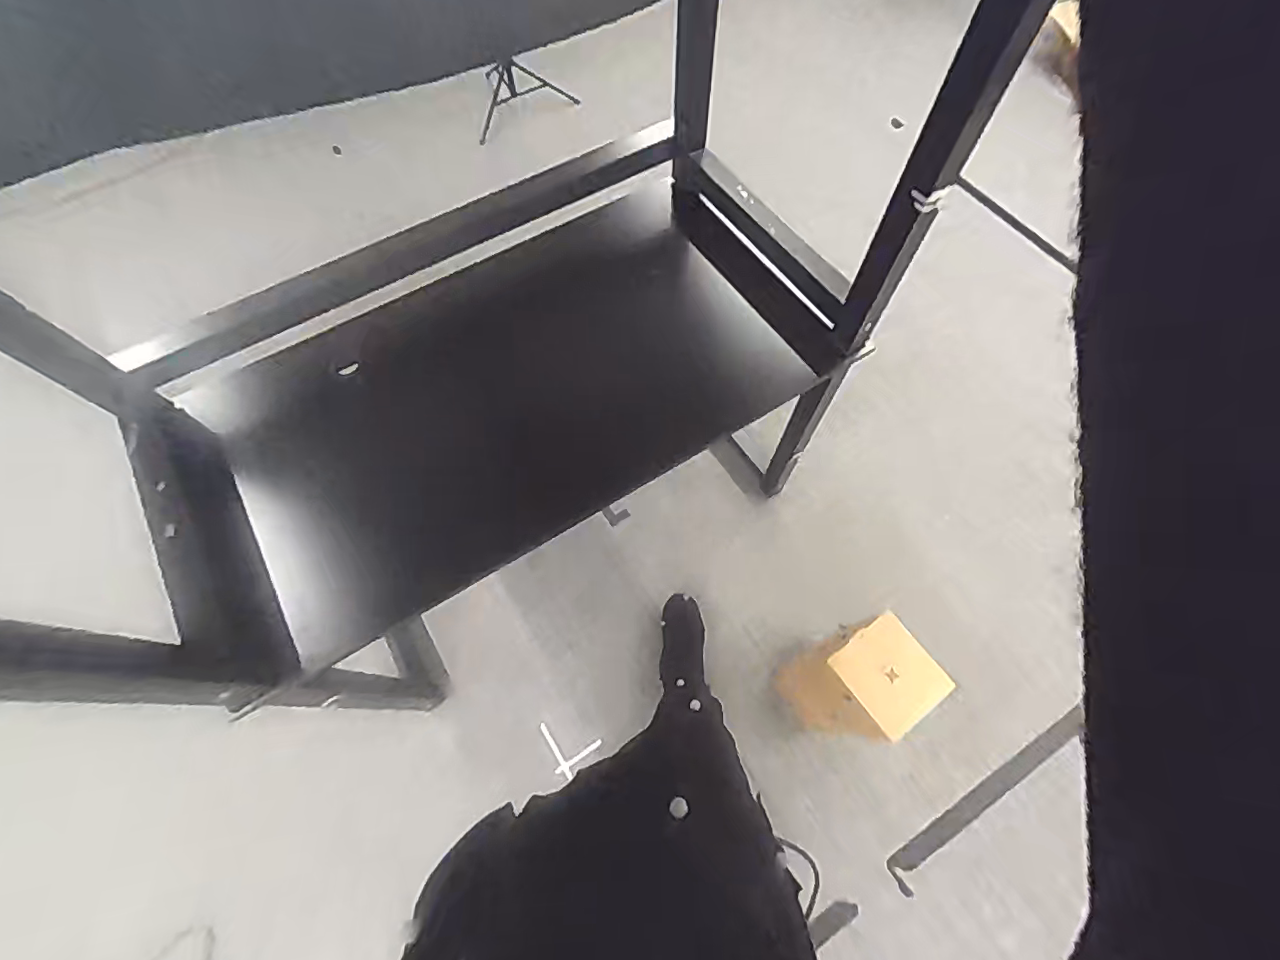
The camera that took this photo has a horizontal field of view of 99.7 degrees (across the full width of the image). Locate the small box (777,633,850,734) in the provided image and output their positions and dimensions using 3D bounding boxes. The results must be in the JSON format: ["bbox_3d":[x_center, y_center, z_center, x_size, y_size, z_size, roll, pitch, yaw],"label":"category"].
[{"bbox_3d":[0.472,0.514,1.368,0.179,0.176,0.168,-33,69,-12],"label":"small box"}]

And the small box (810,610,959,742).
[{"bbox_3d":[0.470,0.384,1.067,0.168,0.176,0.179,-34,69,-12],"label":"small box"}]
